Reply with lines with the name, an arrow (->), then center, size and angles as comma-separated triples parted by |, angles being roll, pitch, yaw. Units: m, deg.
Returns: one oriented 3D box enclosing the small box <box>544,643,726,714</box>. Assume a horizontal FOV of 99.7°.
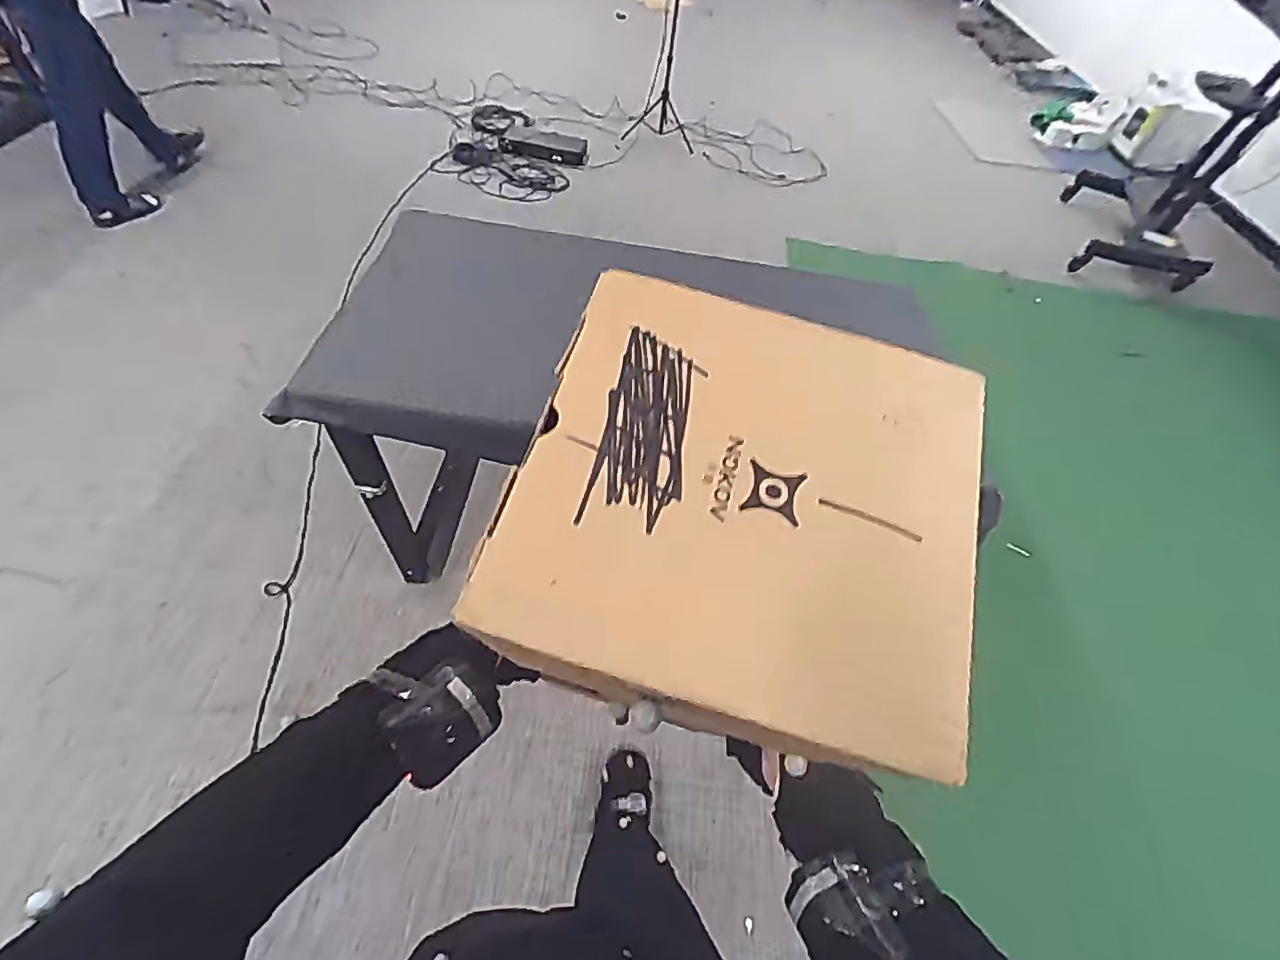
small box -> 0.009, 0.145, 0.597 | 0.179, 0.176, 0.168 | 17, 67, 1
